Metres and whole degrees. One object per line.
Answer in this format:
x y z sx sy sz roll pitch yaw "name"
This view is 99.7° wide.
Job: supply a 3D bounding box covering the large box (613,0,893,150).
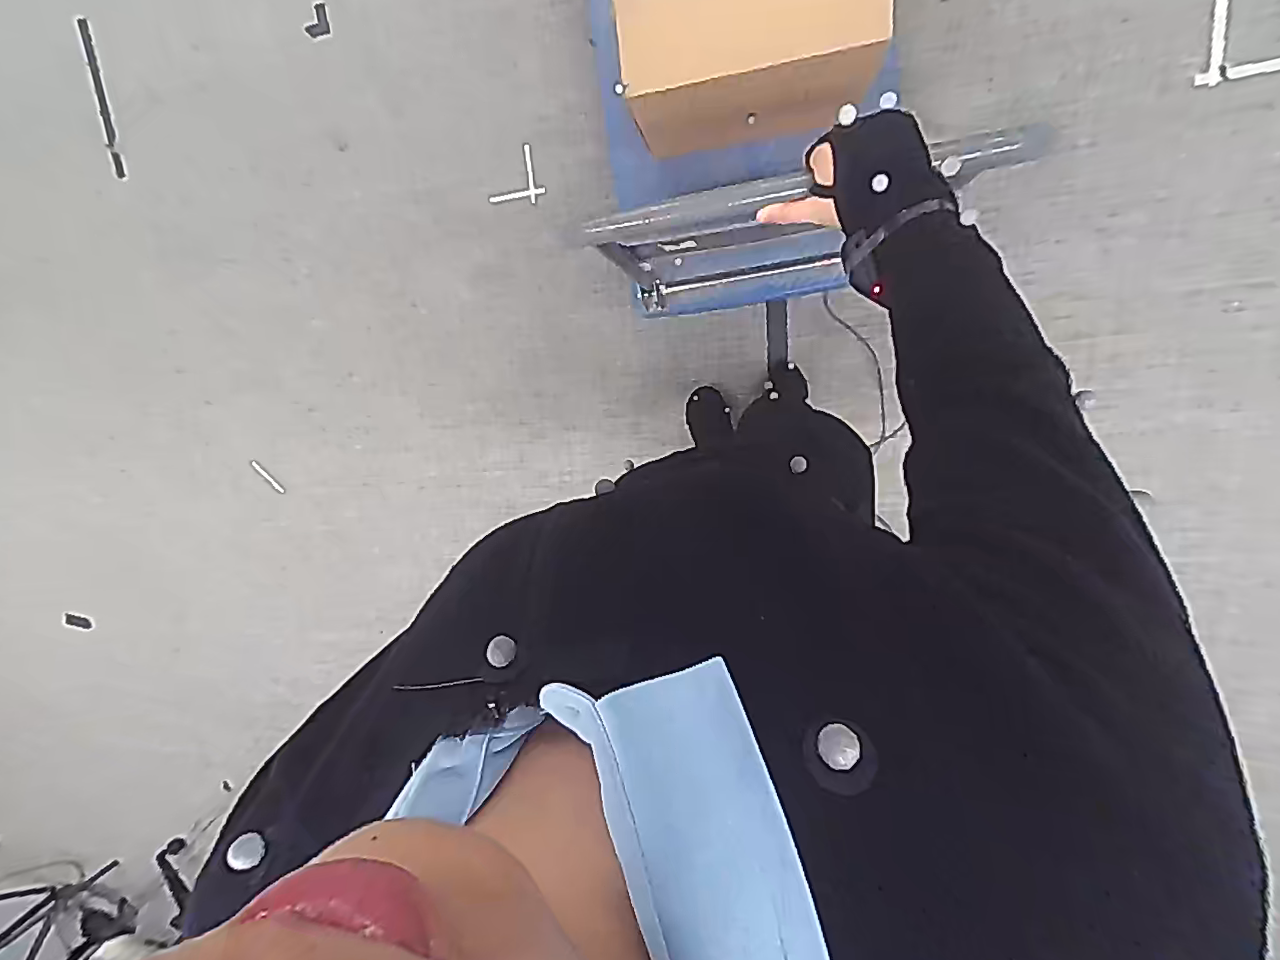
0.177 -0.814 0.917 0.408 0.320 0.320 -4 102 13 "large box"
